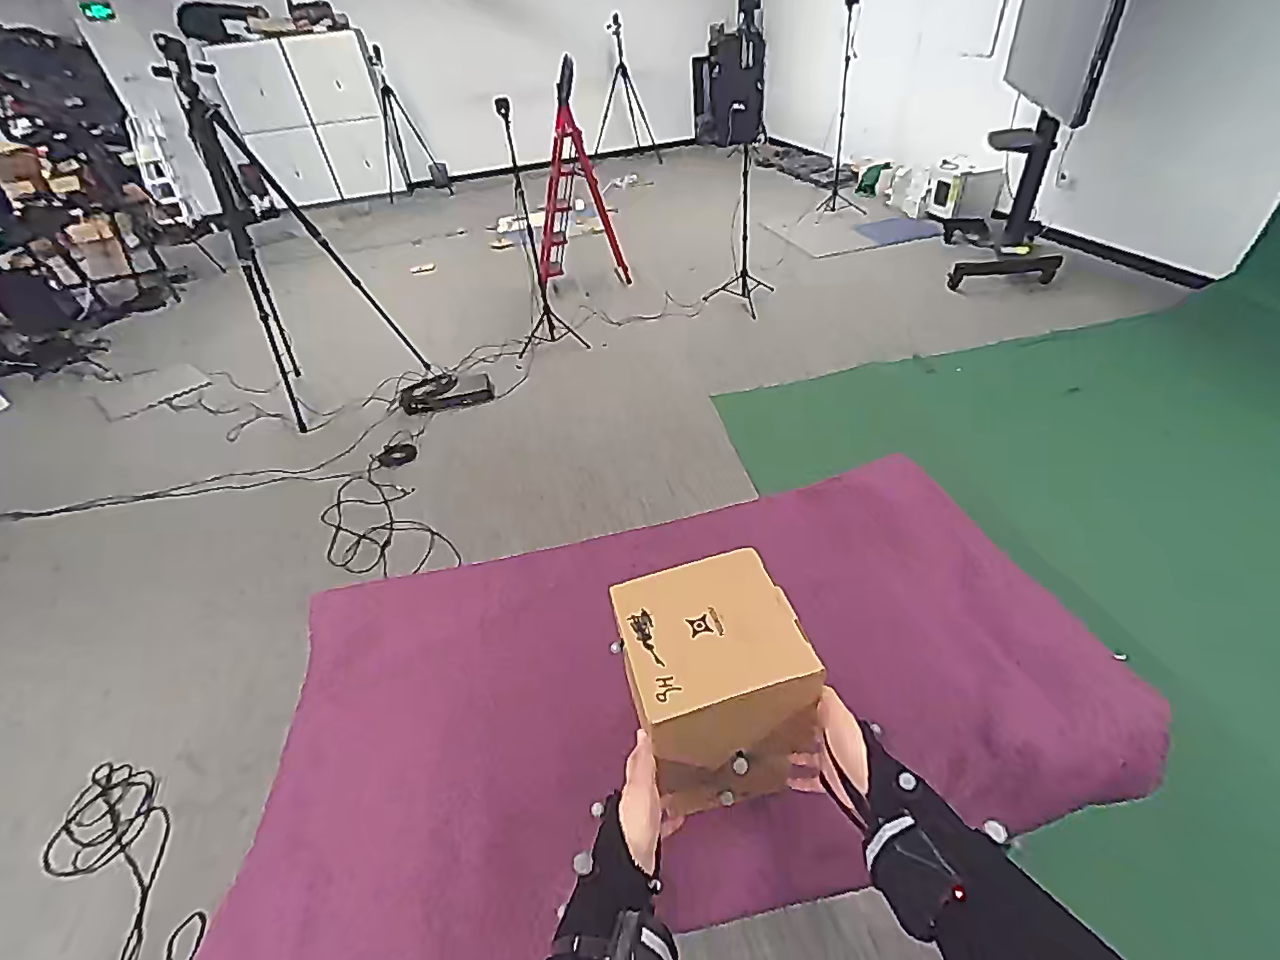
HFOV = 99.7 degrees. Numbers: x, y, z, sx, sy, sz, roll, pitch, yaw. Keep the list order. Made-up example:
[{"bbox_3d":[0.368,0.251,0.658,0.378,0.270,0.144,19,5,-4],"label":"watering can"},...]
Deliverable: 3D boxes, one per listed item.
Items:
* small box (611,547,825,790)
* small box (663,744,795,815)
[{"bbox_3d":[0.076,0.204,0.595,0.179,0.176,0.168,-13,39,-8],"label":"small box"},{"bbox_3d":[0.094,0.311,0.726,0.168,0.176,0.179,-11,40,-4],"label":"small box"}]
